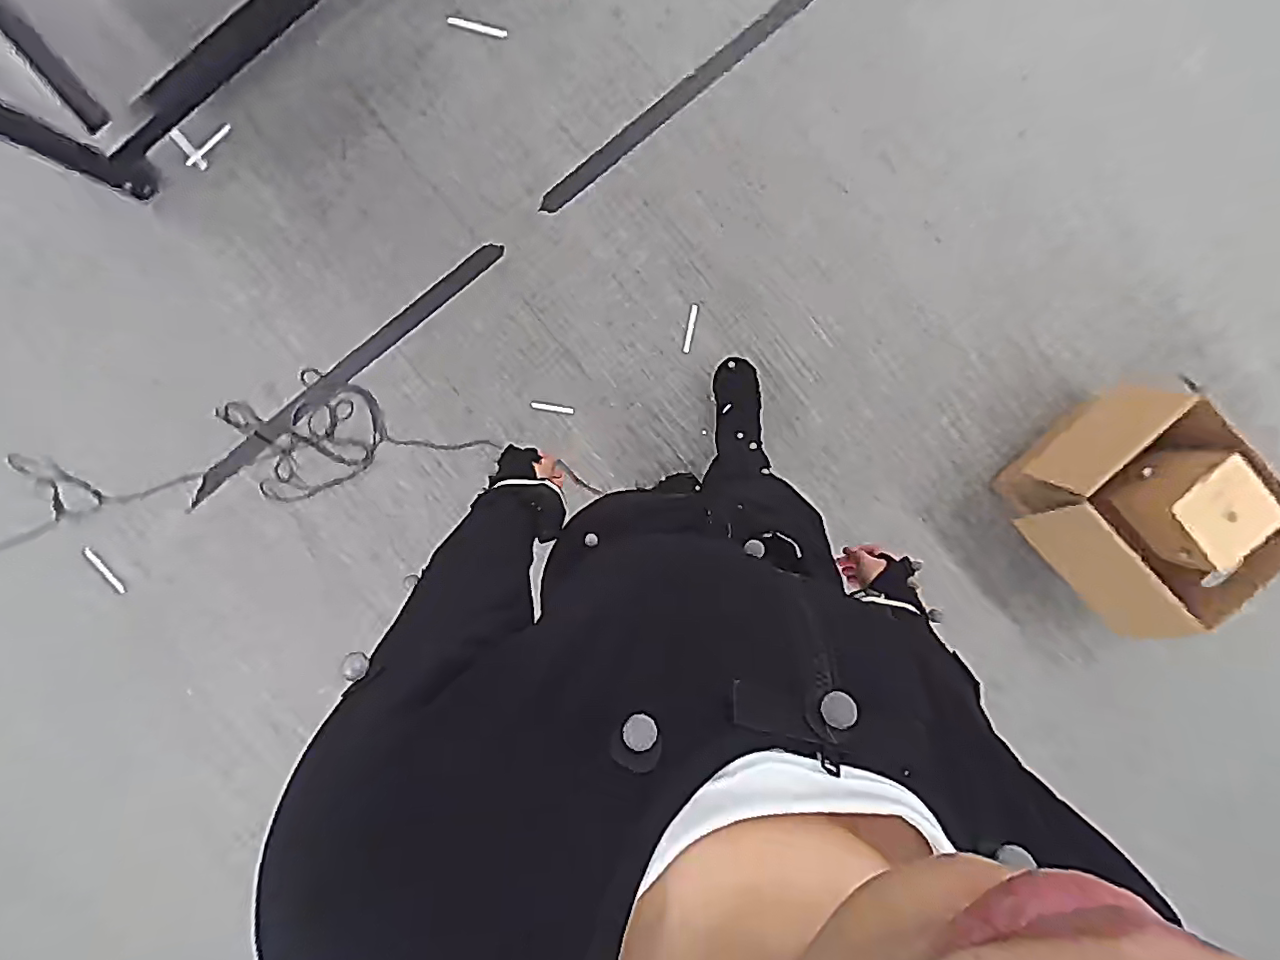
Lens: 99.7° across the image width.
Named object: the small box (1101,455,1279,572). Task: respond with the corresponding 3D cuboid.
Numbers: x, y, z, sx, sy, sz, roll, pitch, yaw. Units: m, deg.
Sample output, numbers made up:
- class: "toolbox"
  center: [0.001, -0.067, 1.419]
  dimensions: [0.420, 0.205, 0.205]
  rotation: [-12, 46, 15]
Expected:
- class: "small box"
  center: [1.142, 0.059, 1.133]
  dimensions: [0.168, 0.176, 0.179]
  rotation: [-41, 94, 2]
